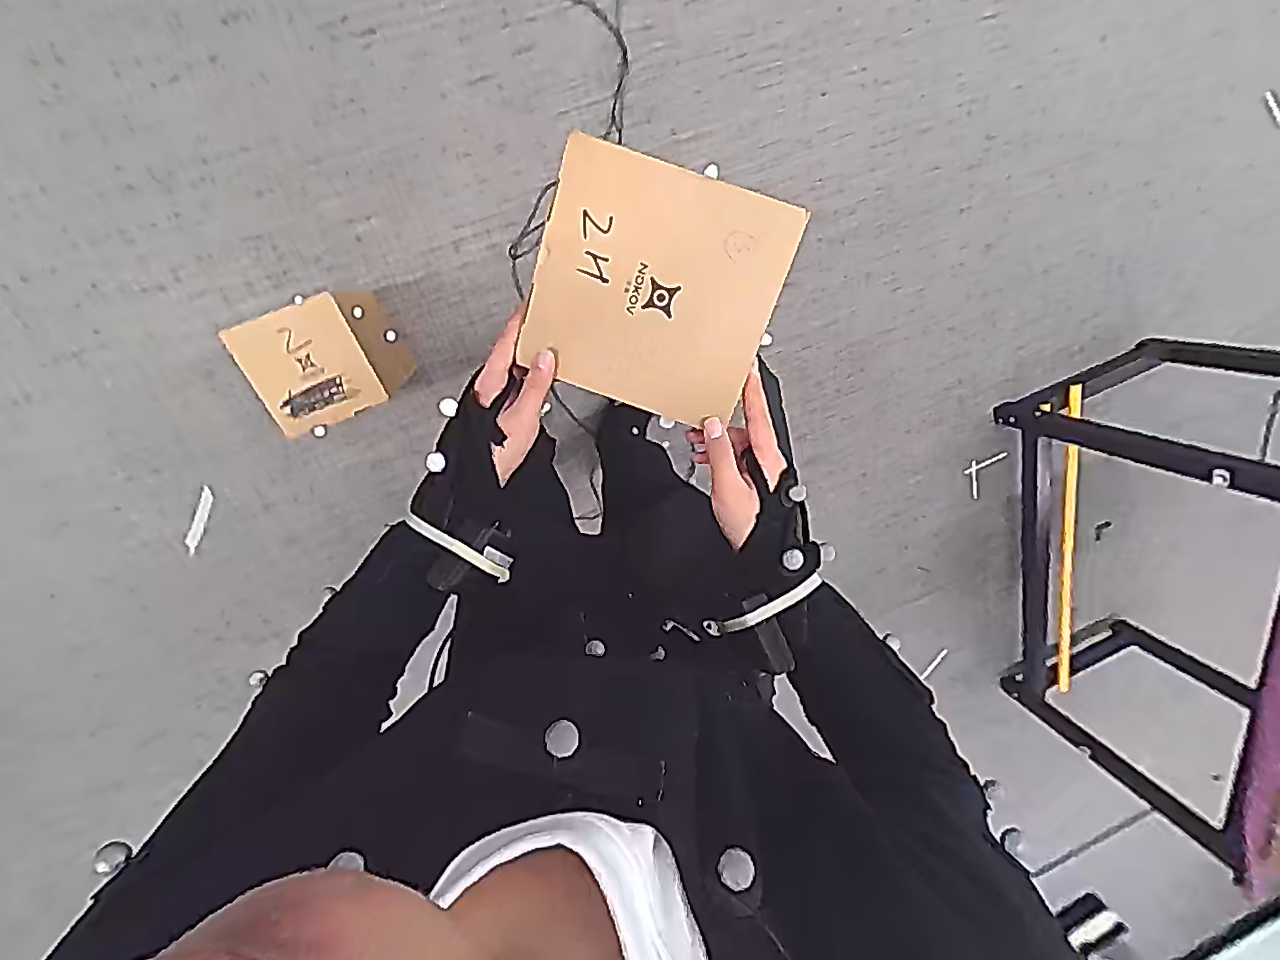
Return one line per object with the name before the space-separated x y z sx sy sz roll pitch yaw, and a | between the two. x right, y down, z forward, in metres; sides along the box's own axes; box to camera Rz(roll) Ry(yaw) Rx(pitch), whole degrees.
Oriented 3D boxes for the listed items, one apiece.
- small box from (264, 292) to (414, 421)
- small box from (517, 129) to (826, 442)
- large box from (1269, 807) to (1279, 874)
small box | -0.554 -0.240 1.025 0.168 0.176 0.179 -28 115 -4
small box | 0.026 -0.152 0.451 0.179 0.176 0.168 21 108 2
large box | 1.760 0.818 1.204 0.408 0.320 0.320 -23 115 -8
